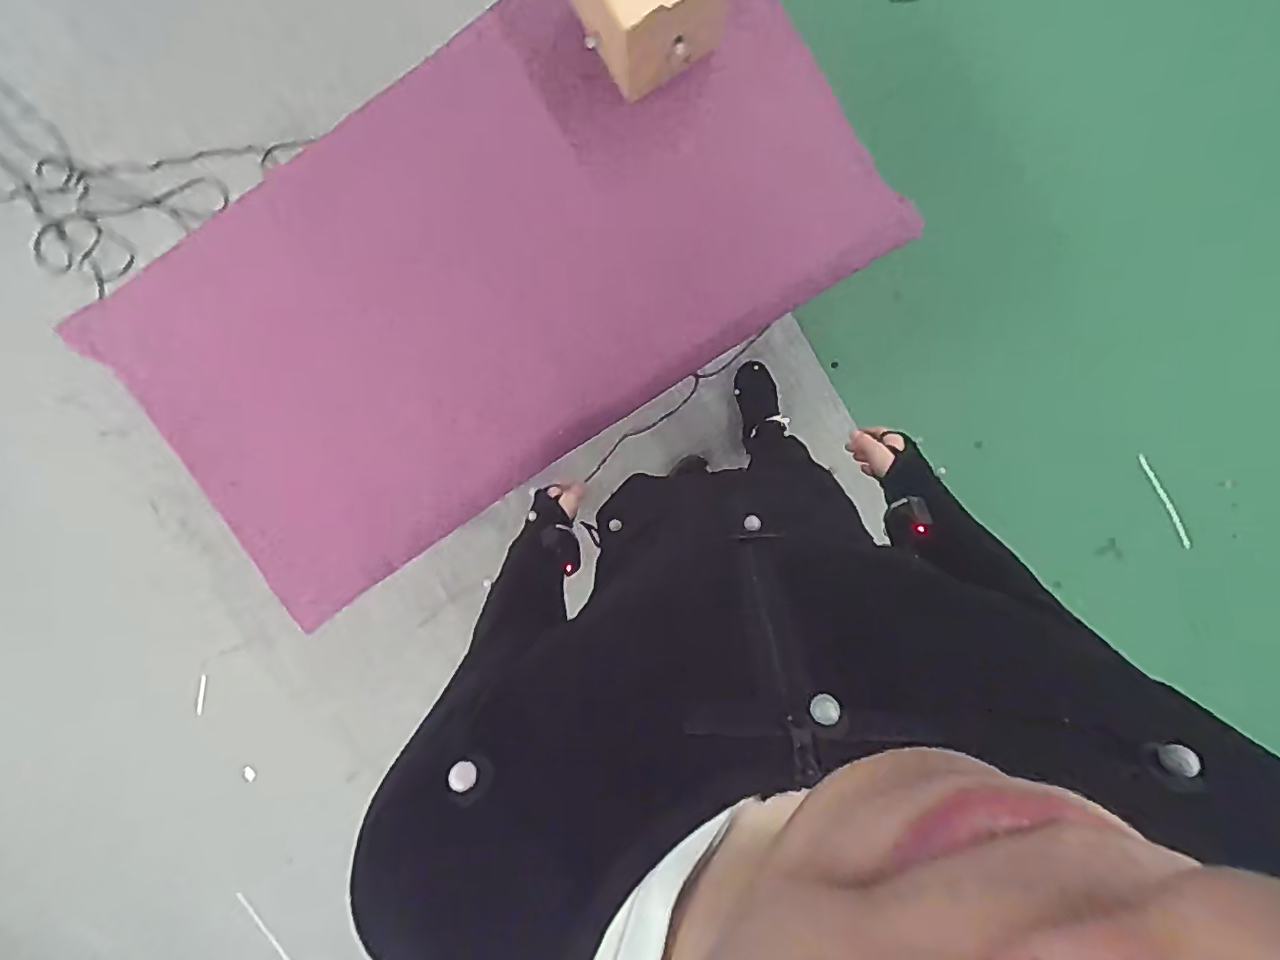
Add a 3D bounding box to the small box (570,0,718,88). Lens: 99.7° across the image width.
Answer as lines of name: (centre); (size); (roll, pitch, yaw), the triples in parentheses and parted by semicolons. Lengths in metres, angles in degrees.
small box: (0.001, -0.690, 0.745); (0.168, 0.176, 0.179); (-31, 96, 5)
